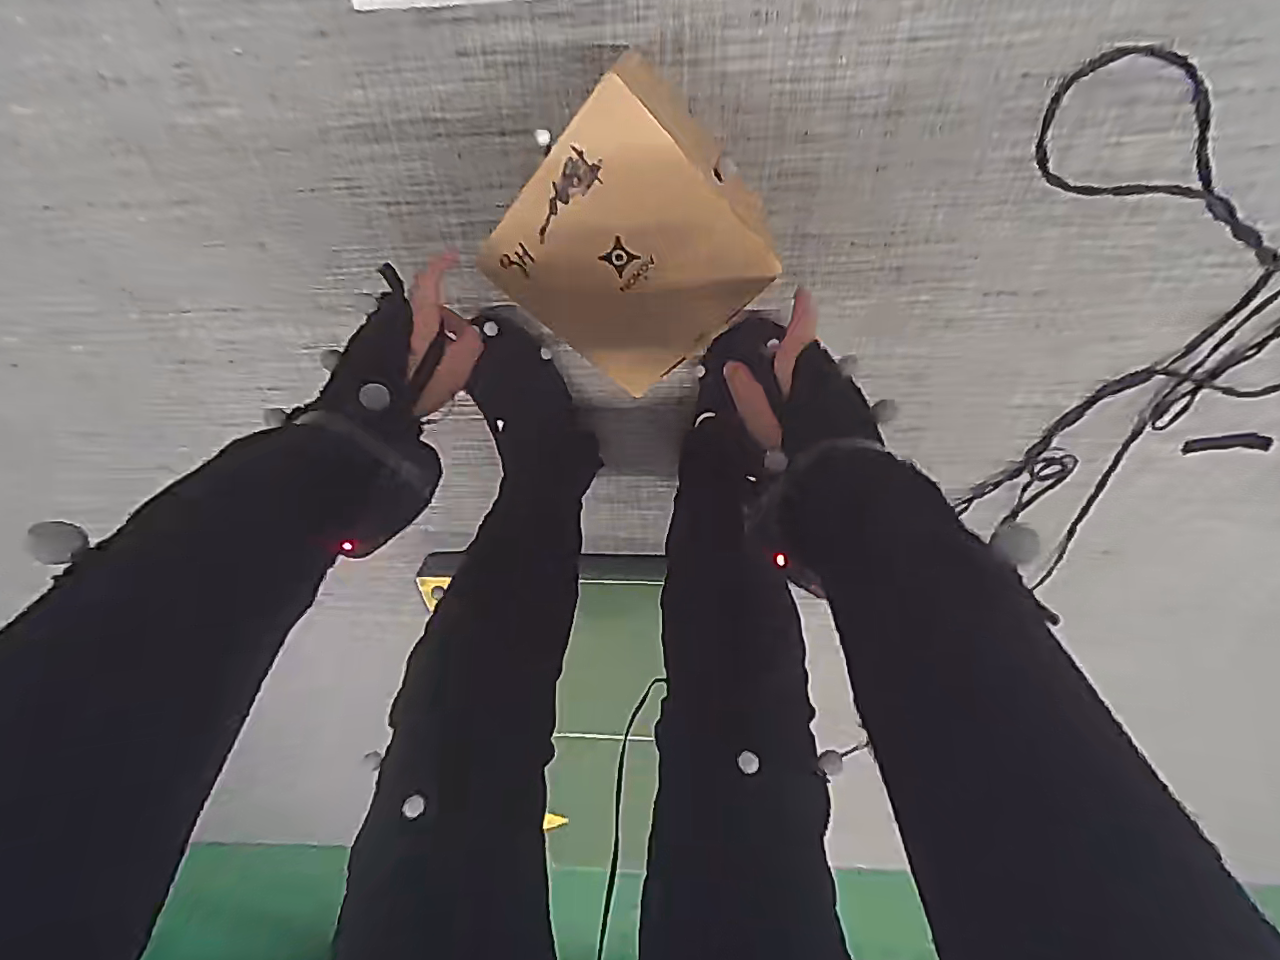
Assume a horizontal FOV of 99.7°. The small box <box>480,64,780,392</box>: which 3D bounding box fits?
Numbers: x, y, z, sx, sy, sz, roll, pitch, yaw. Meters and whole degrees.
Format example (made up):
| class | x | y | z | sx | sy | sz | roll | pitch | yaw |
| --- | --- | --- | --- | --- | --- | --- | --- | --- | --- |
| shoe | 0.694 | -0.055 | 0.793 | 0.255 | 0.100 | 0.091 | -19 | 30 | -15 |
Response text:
| class | x | y | z | sx | sy | sz | roll | pitch | yaw |
| --- | --- | --- | --- | --- | --- | --- | --- | --- | --- |
| small box | -0.003 | -0.219 | 0.473 | 0.179 | 0.176 | 0.168 | 36 | 125 | -26 |
